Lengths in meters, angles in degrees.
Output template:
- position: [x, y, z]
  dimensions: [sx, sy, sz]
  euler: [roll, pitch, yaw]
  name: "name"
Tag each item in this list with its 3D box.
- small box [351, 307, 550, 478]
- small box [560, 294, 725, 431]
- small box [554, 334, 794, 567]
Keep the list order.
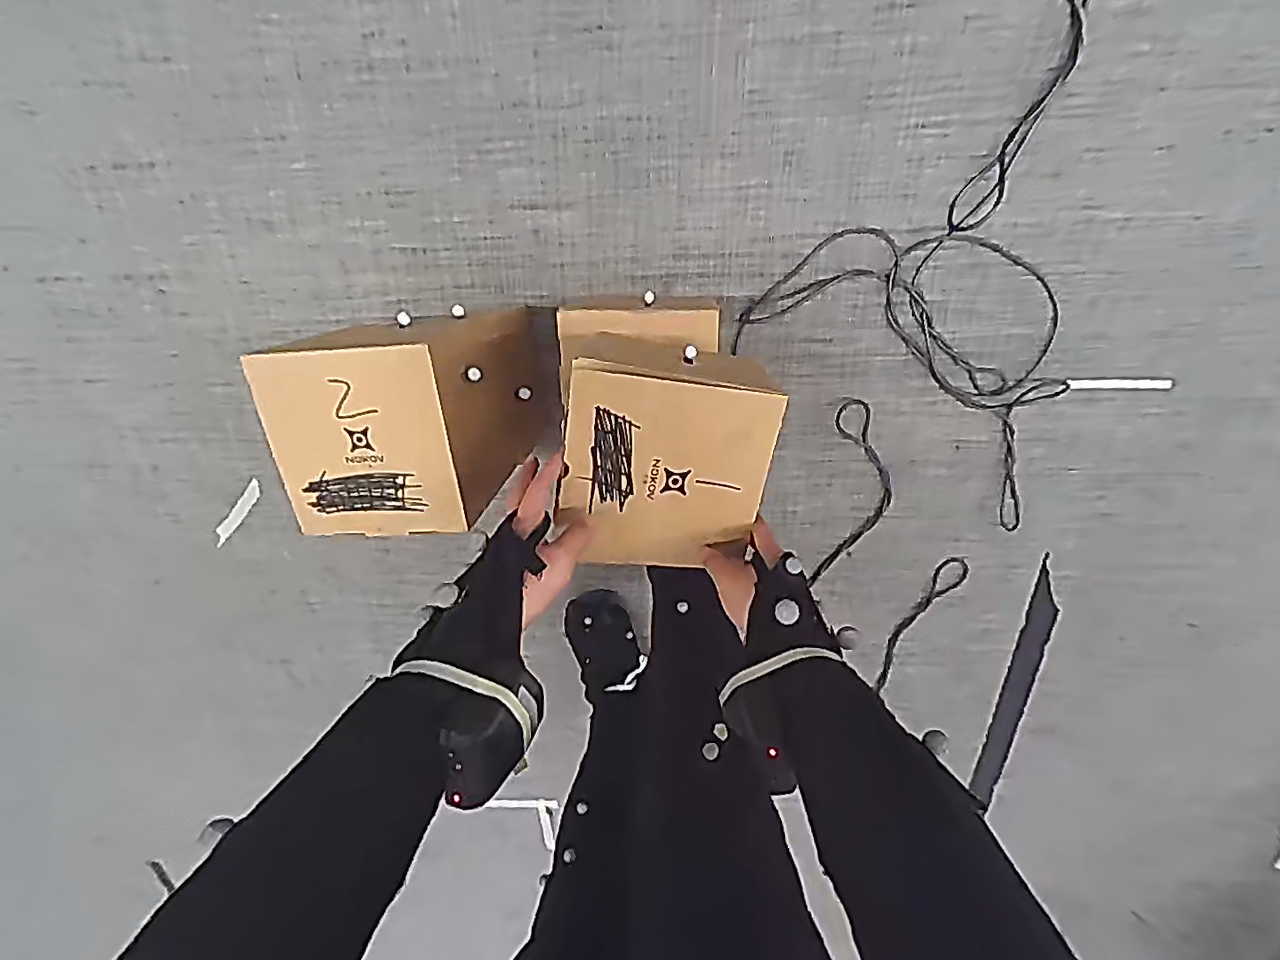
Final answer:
- position: [-0.225, -0.121, 0.694]
  dimensions: [0.168, 0.176, 0.179]
  euler: [-6, 113, 7]
  name: "small box"
- position: [0.007, -0.136, 0.665]
  dimensions: [0.179, 0.176, 0.168]
  euler: [1, 113, 4]
  name: "small box"
- position: [0.026, -0.040, 0.525]
  dimensions: [0.179, 0.176, 0.168]
  euler: [10, 112, -2]
  name: "small box"
